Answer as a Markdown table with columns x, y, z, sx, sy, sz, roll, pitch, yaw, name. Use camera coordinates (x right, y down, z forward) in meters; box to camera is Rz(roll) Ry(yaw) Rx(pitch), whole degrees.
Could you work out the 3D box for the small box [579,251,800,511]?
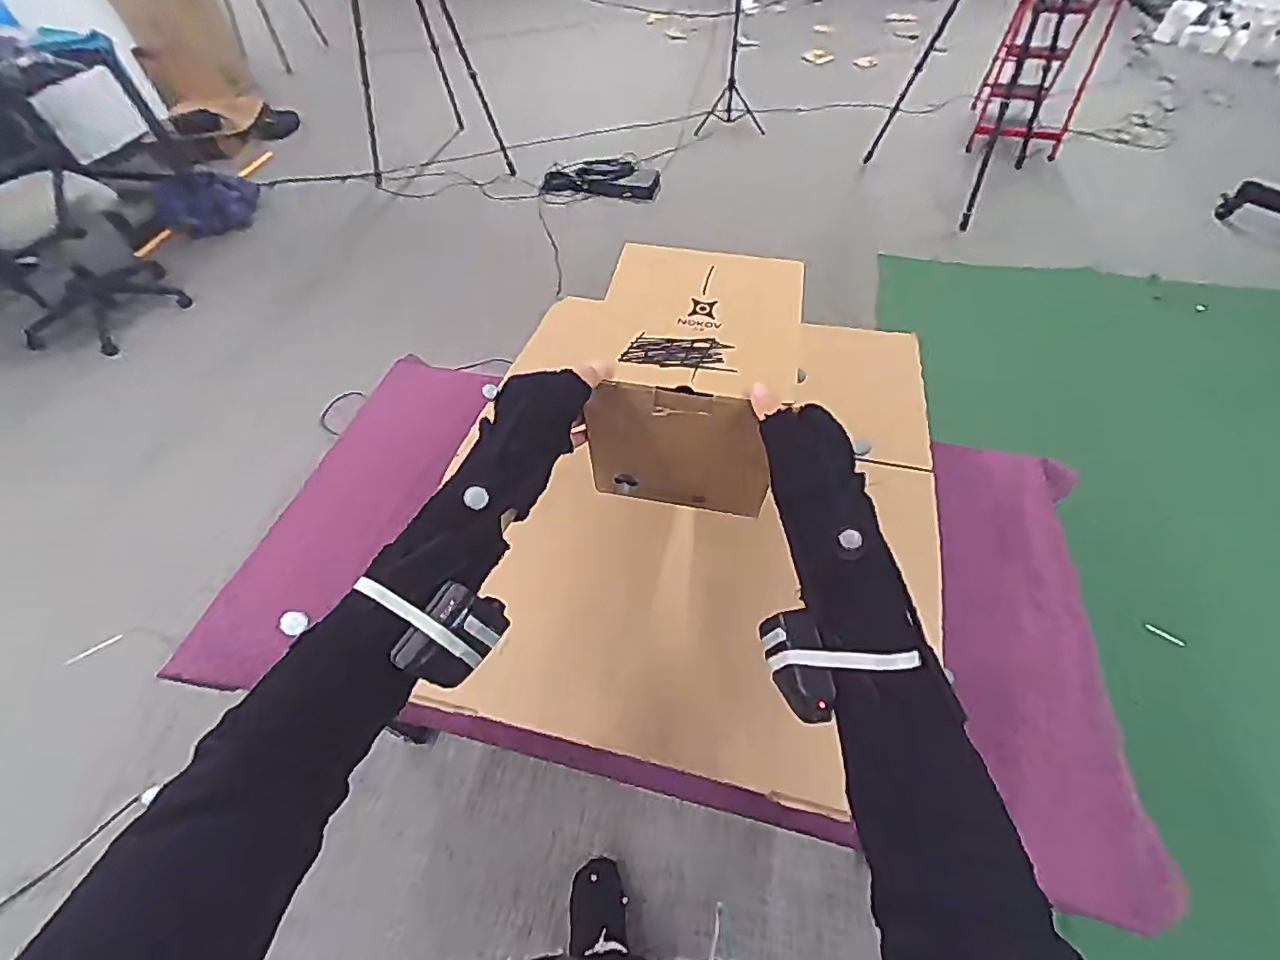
| x | y | z | sx | sy | sz | roll | pitch | yaw | name |
| --- | --- | --- | --- | --- | --- | --- | --- | --- | --- |
| 0.050 | -0.090 | 0.524 | 0.168 | 0.176 | 0.179 | 10 | 57 | 7 | small box |
